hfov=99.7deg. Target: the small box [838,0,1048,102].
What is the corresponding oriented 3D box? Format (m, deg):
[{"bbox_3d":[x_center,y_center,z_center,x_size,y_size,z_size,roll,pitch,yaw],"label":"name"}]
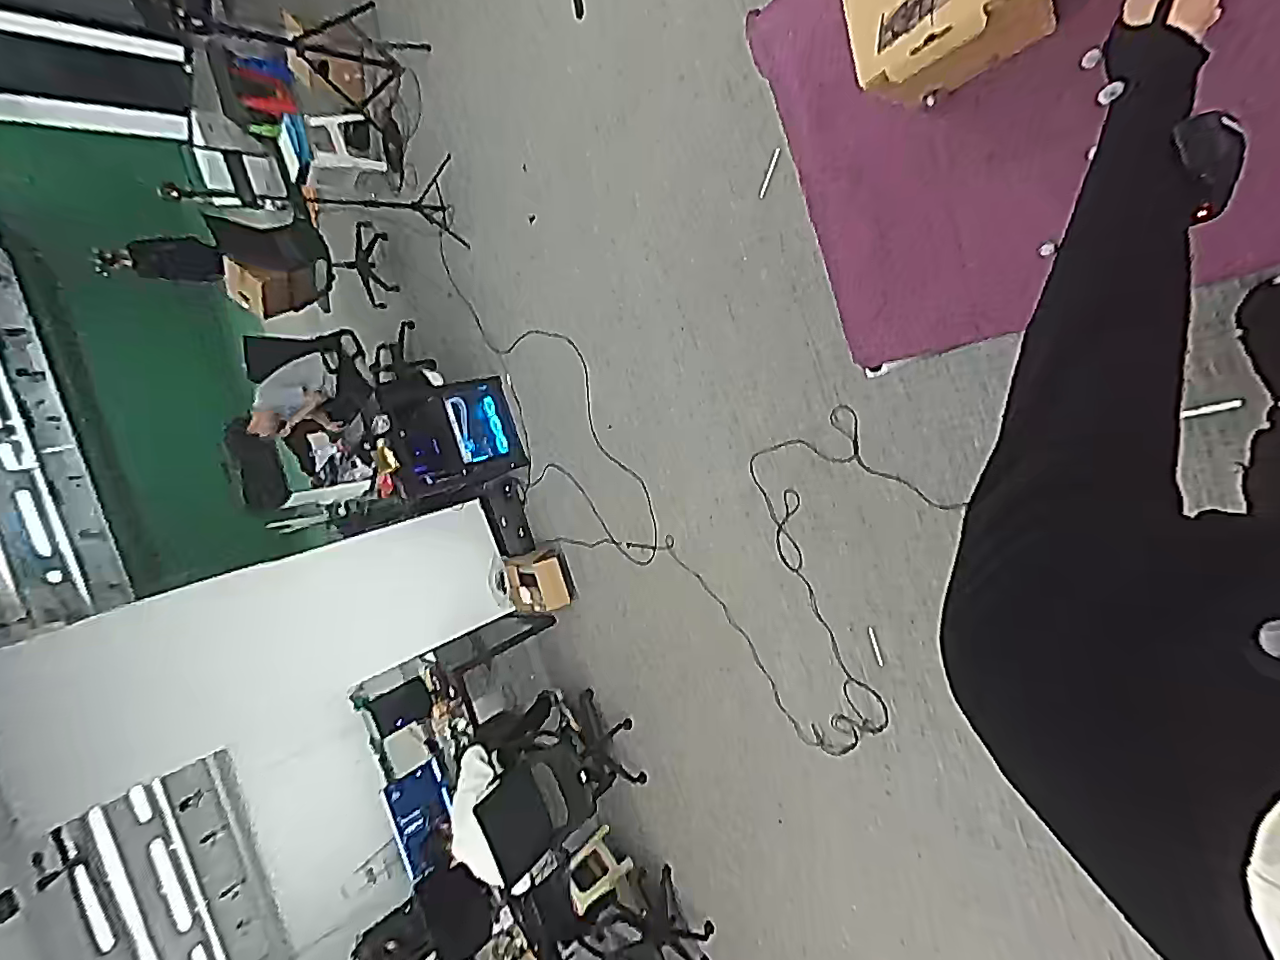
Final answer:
[{"bbox_3d":[0.351,-0.580,0.633,0.168,0.176,0.179,-7,100,49],"label":"small box"}]
